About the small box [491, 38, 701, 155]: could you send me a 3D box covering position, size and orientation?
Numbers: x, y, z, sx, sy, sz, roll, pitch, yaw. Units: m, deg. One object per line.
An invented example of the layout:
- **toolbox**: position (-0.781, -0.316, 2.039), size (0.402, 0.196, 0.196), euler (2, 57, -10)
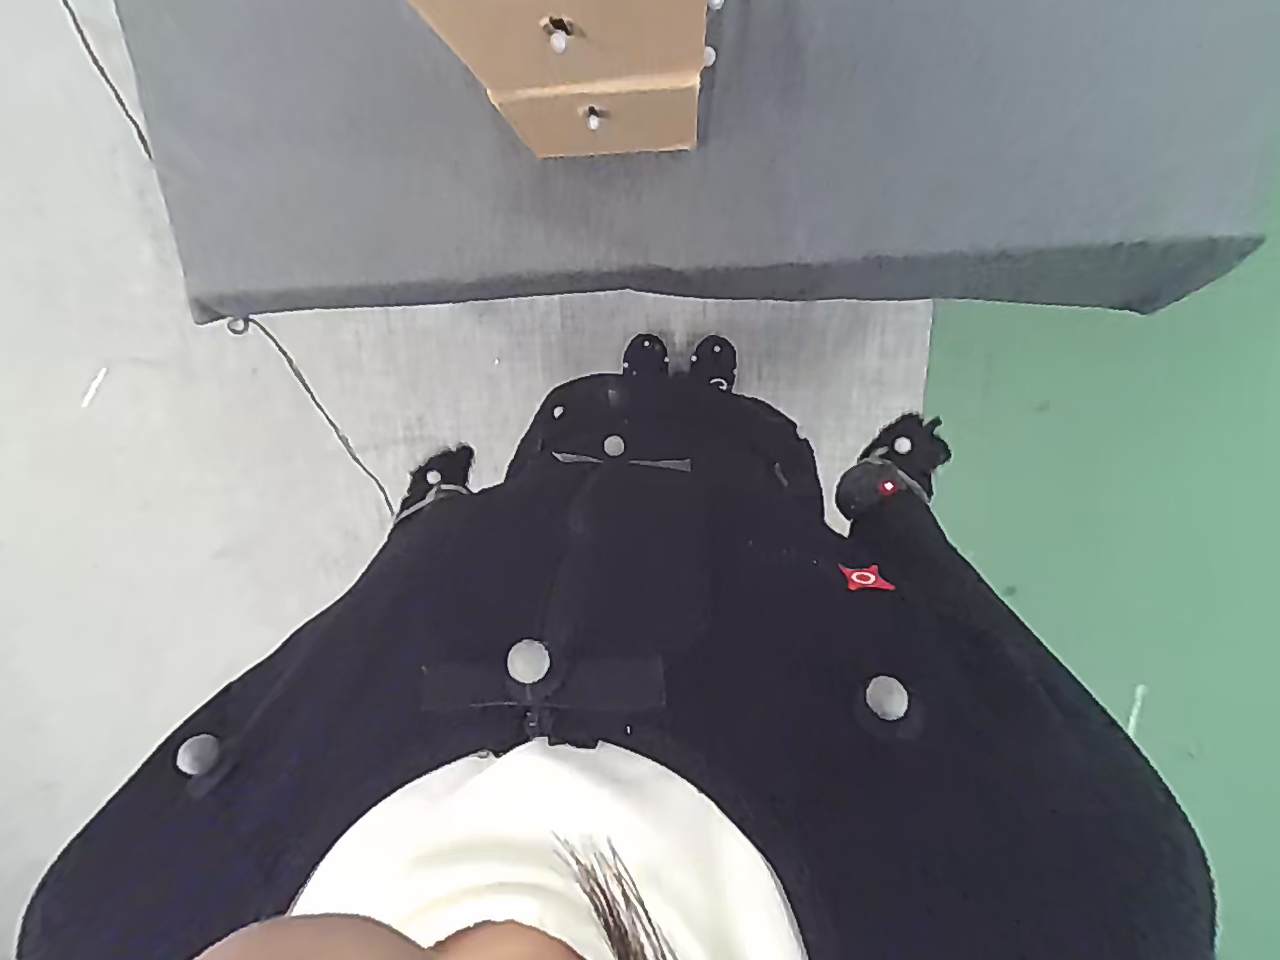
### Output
- **small box**: position (-0.033, -0.415, 0.497), size (0.179, 0.176, 0.168), euler (-1, 107, 4)

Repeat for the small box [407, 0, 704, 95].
- **small box**: position (-0.047, -0.372, 0.339), size (0.179, 0.176, 0.168), euler (-1, 107, 7)
